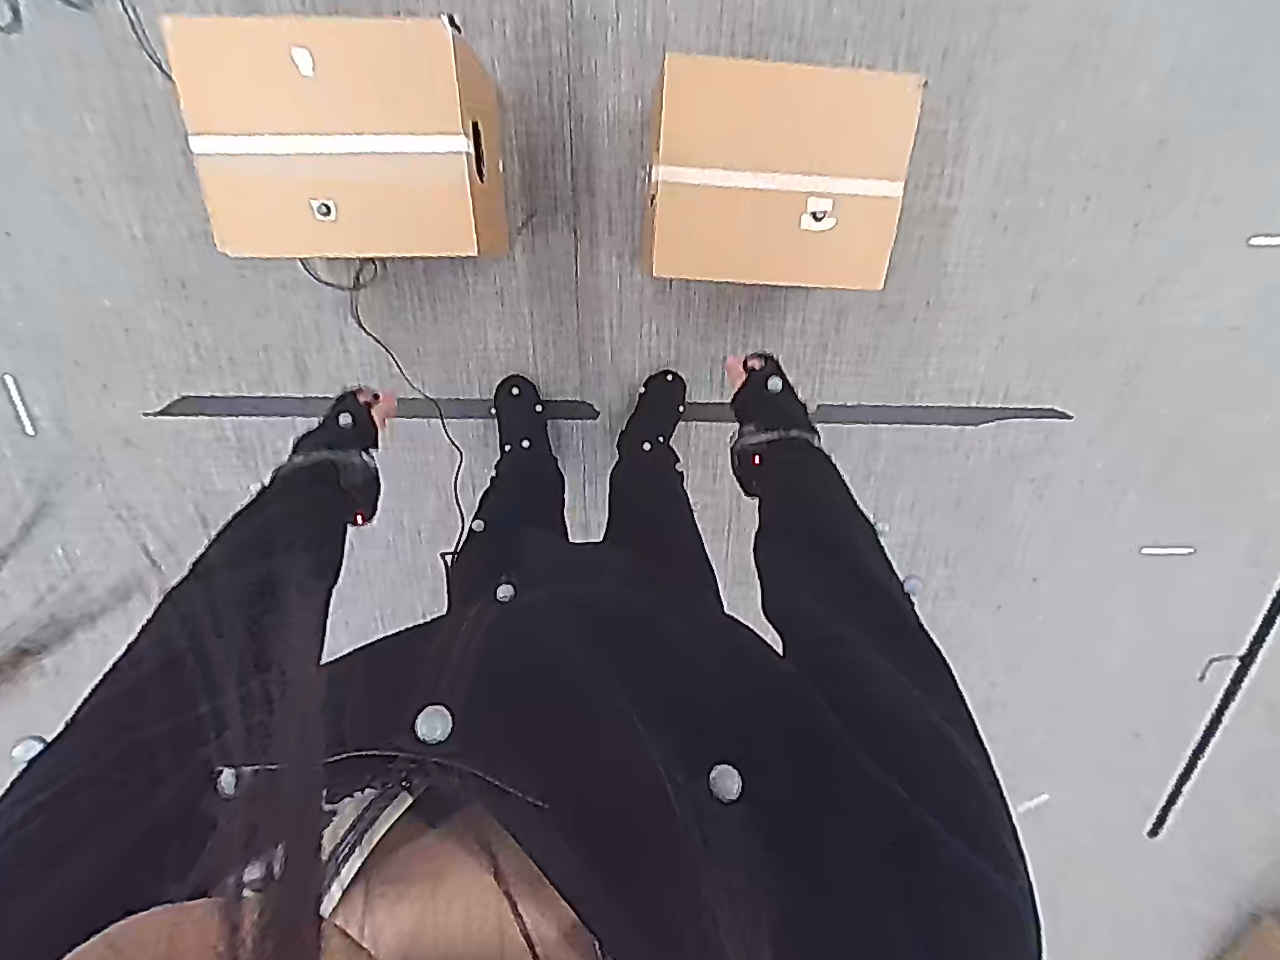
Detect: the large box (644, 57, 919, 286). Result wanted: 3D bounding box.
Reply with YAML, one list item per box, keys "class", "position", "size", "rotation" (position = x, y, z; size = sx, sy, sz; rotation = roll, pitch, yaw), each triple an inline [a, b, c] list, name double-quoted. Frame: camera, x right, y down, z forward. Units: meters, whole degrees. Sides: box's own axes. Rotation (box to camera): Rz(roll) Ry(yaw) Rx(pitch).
- class: "large box"
  position: [0.221, -0.541, 1.018]
  size: [0.408, 0.320, 0.320]
  rotation: [2, 112, -5]
